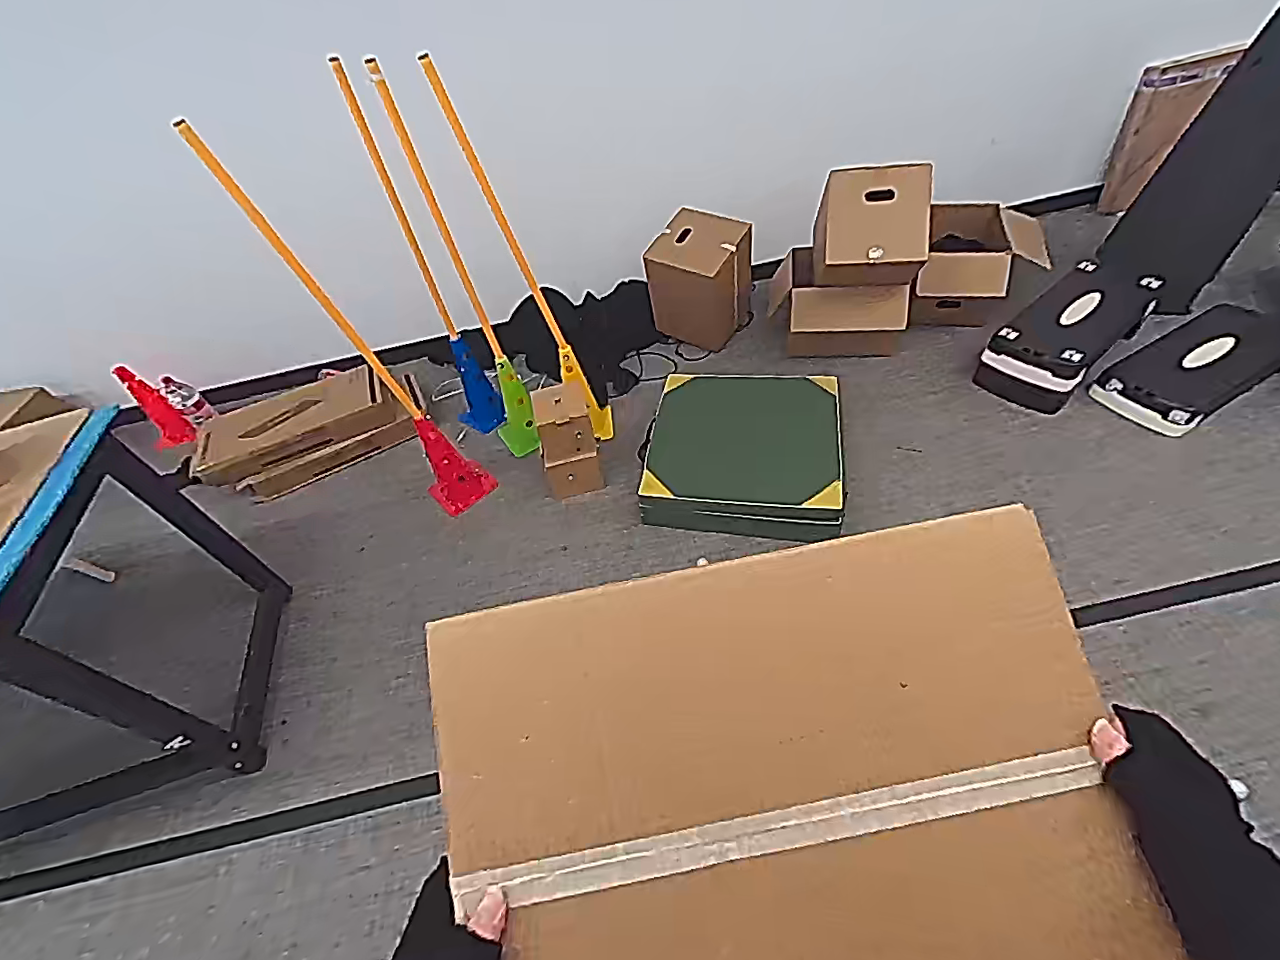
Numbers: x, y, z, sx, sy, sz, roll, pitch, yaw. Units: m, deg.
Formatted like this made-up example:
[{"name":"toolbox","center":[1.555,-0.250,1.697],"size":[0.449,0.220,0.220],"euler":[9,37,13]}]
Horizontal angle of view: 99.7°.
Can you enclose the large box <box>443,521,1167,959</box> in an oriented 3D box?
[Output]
[{"name":"large box","center":[0.096,0.245,0.480],"size":[0.408,0.320,0.320],"euler":[-12,76,0]}]
